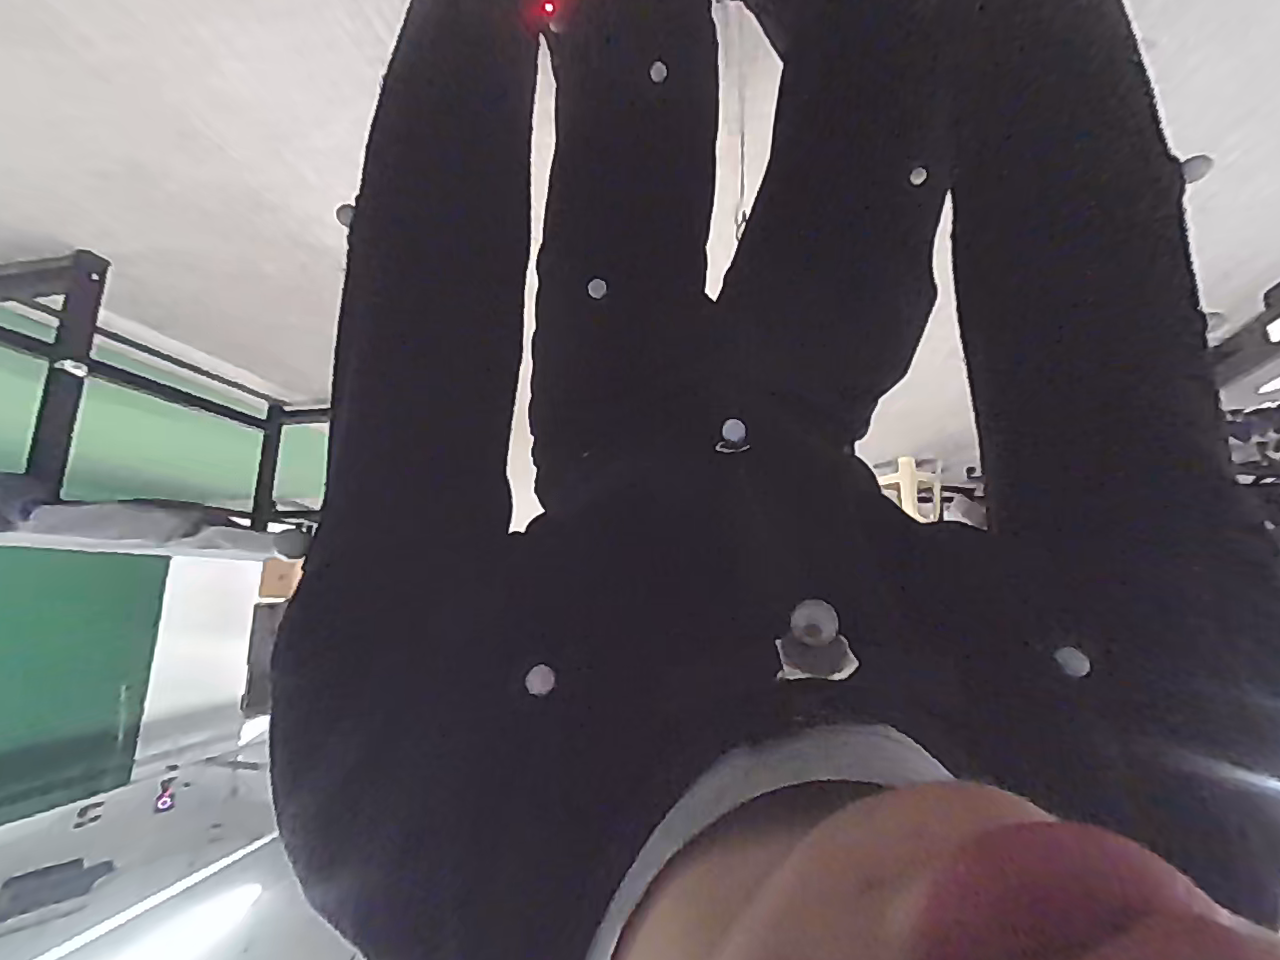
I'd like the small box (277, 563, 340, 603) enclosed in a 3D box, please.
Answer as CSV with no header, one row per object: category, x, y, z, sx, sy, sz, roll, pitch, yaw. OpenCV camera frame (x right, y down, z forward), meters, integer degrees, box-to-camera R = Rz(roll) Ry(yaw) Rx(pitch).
small box,-1.456,0.456,2.385,0.179,0.176,0.168,-3,166,16
